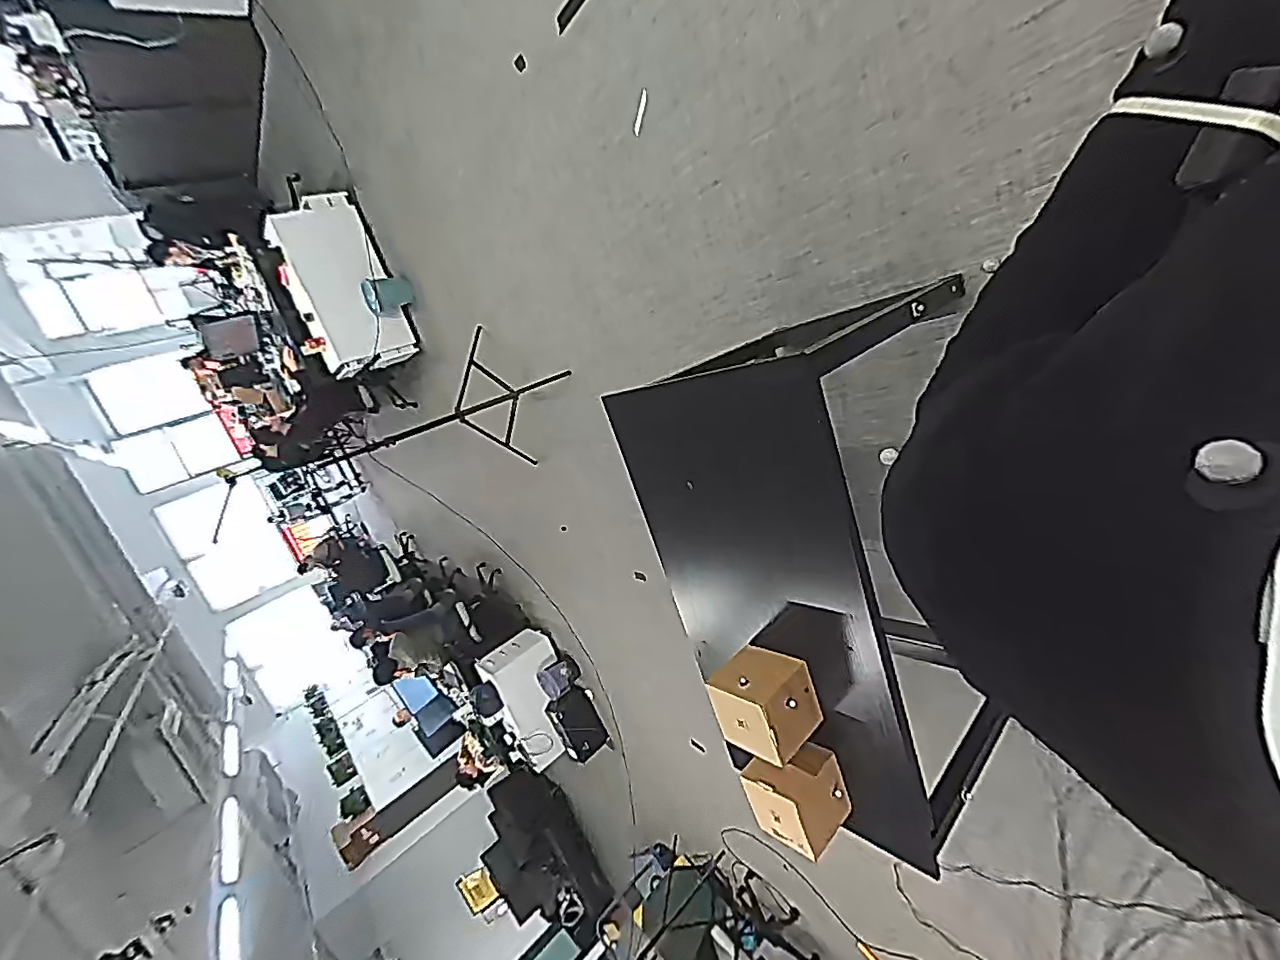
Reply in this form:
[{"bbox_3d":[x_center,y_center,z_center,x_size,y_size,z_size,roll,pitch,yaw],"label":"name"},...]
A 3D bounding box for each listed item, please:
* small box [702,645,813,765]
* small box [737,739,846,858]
[{"bbox_3d":[0.280,0.509,1.255,0.179,0.176,0.168,-1,112,53],"label":"small box"},{"bbox_3d":[0.370,0.749,1.312,0.168,0.176,0.179,-3,111,53],"label":"small box"}]
